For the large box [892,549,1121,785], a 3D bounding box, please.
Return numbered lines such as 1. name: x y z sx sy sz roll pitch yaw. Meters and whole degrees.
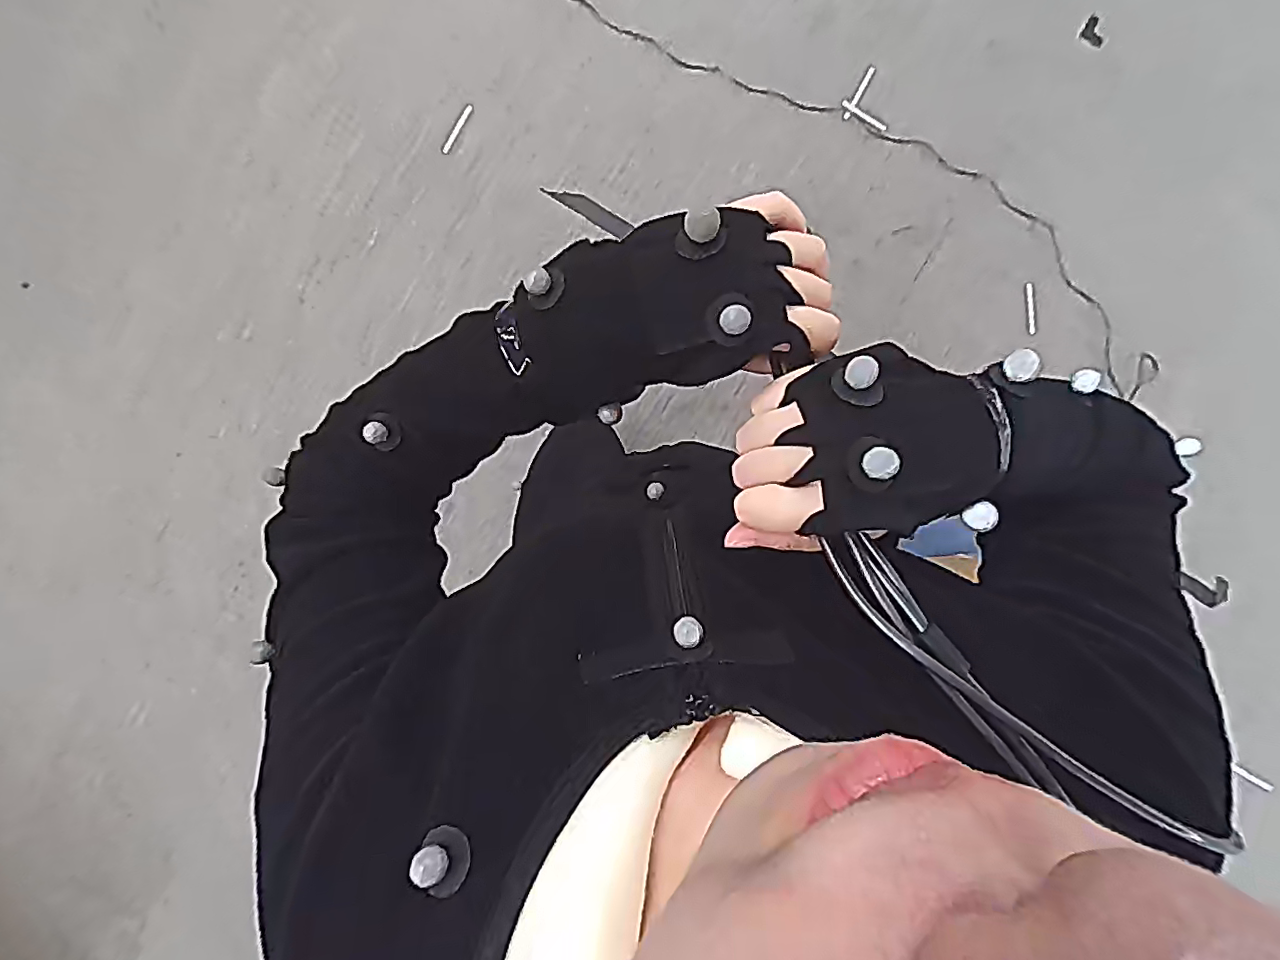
1. large box: 0.797 0.390 1.217 0.320 0.320 0.408 -4 94 -1
